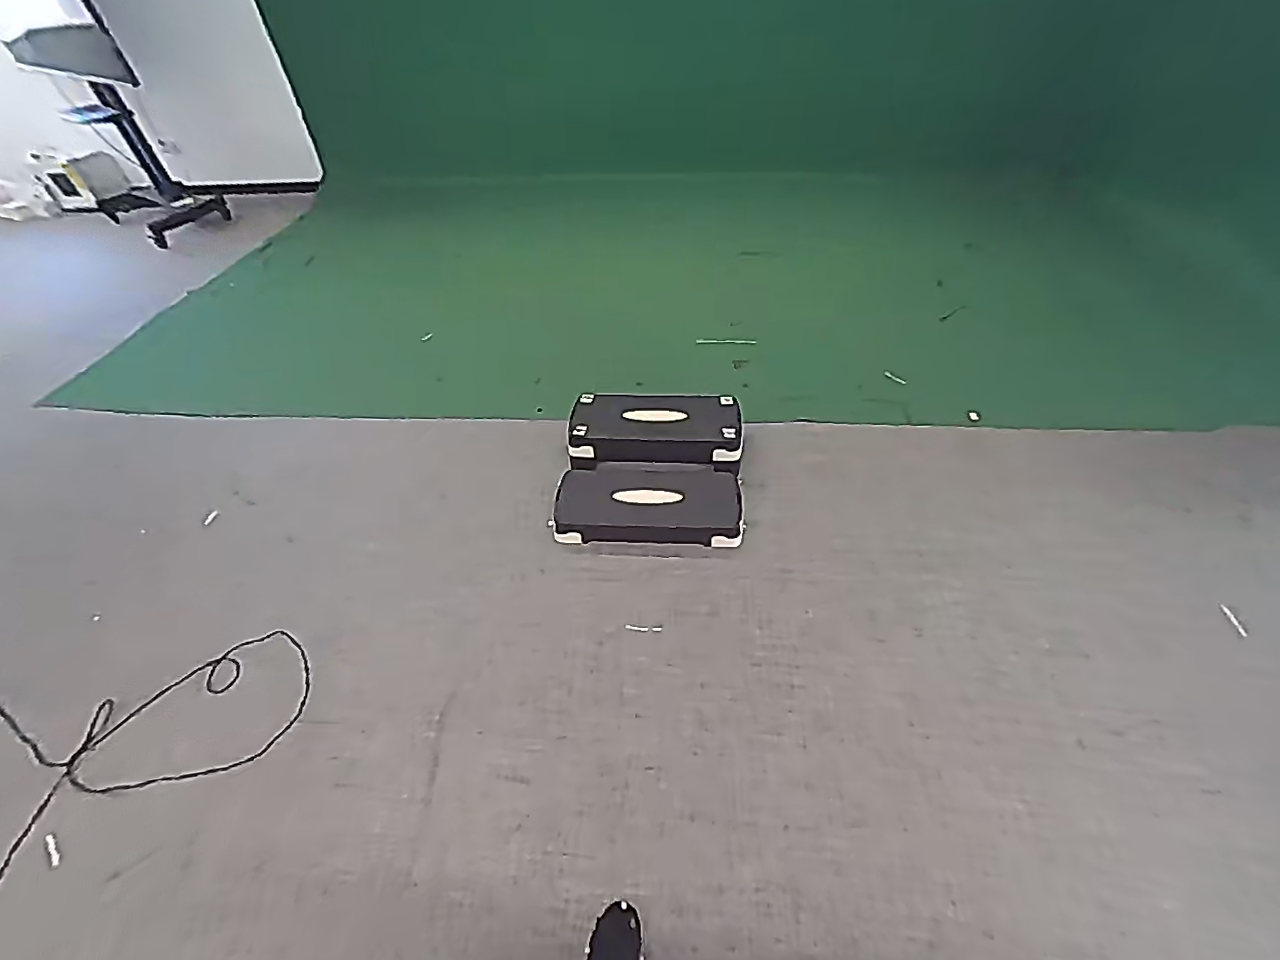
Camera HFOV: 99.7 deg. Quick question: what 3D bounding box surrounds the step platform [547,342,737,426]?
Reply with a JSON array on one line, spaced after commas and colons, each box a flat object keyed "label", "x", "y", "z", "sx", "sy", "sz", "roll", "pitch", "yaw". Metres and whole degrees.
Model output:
[{"label": "step platform", "x": 0.010, "y": -0.358, "z": 2.022, "sx": 0.684, "sy": 0.204, "sz": 0.286, "roll": 1, "pitch": 46, "yaw": 5}]
